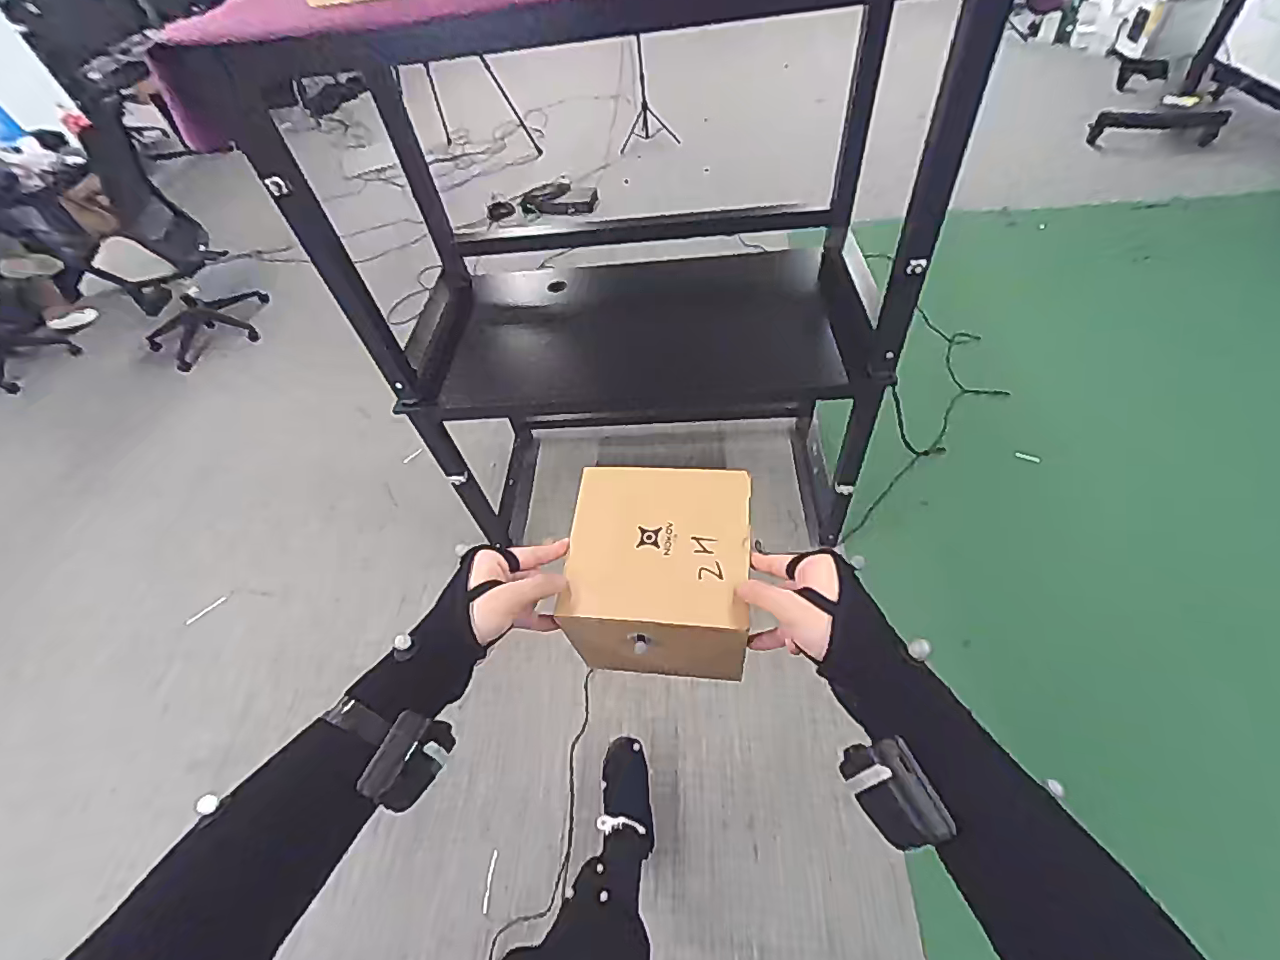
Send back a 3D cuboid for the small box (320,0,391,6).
[{"bbox_3d":[-0.396,-0.801,0.769,0.168,0.176,0.179,-2,50,7],"label":"small box"}]
